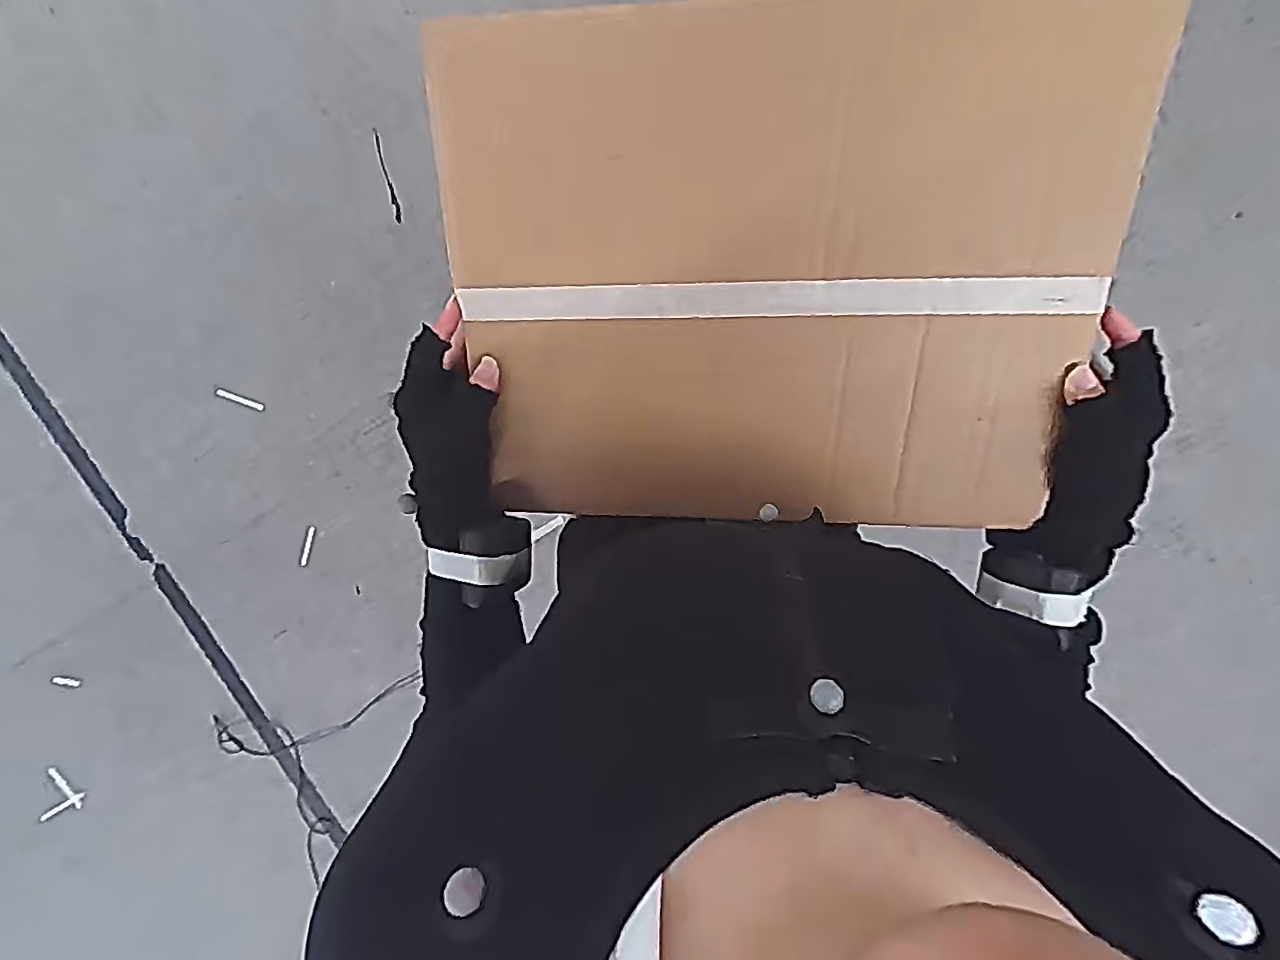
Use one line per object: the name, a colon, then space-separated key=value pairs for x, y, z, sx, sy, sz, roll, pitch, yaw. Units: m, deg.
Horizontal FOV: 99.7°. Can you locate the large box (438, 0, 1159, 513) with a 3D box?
large box: x=0.092 y=-0.176 z=0.493 sx=0.408 sy=0.320 sz=0.320 roll=2 pitch=113 yaw=6
